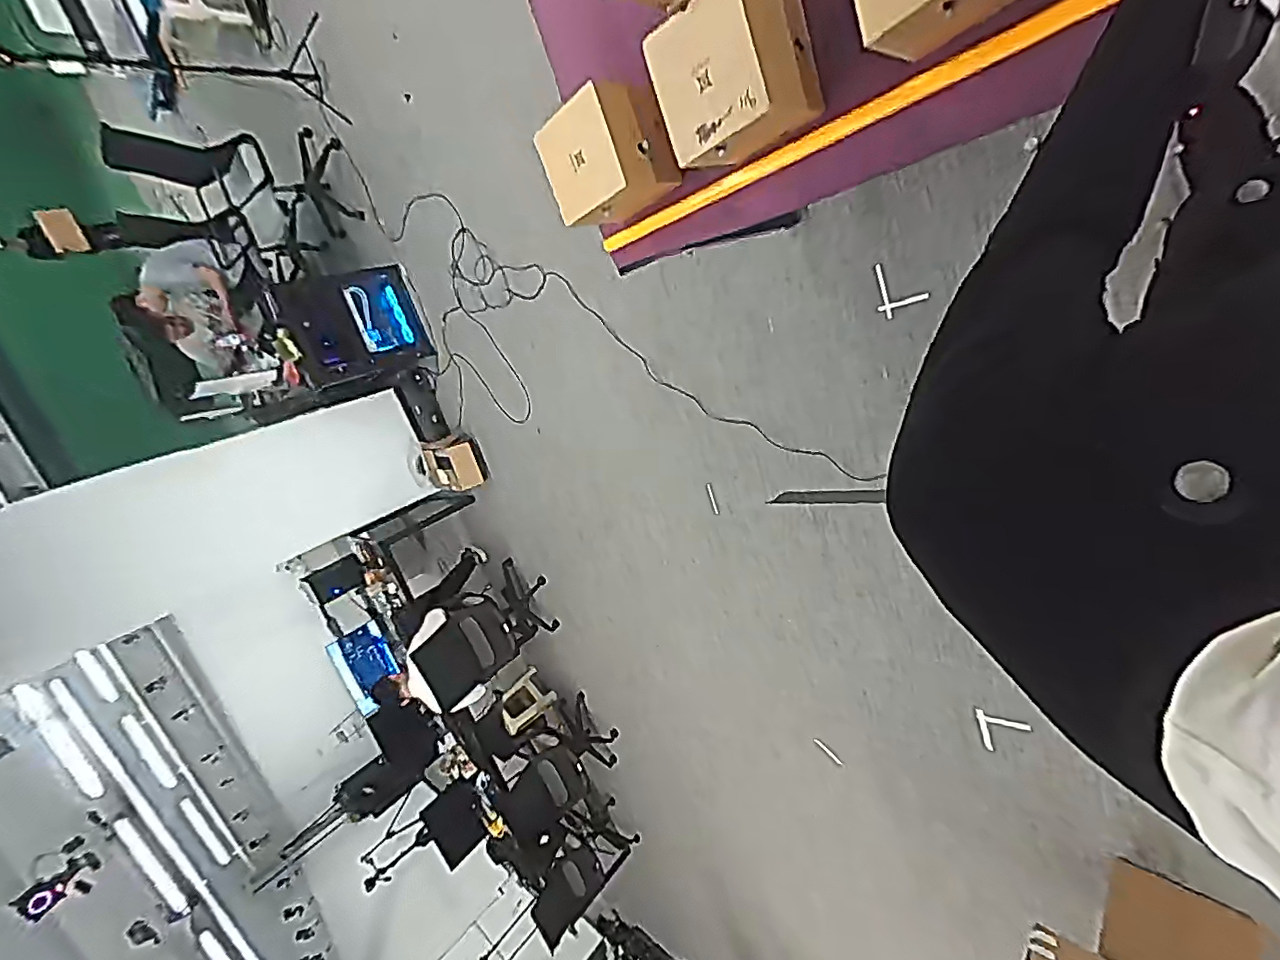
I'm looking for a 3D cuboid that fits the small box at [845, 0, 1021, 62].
[{"bbox_3d":[0.332,-0.592,0.580,0.179,0.176,0.168,-5,109,48],"label":"small box"}]

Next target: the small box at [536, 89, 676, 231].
[{"bbox_3d":[-0.054,-0.583,0.994,0.179,0.176,0.168,-5,110,47],"label":"small box"}]

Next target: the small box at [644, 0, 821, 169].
[{"bbox_3d":[0.139,-0.582,0.791,0.168,0.176,0.179,-3,111,49],"label":"small box"}]
